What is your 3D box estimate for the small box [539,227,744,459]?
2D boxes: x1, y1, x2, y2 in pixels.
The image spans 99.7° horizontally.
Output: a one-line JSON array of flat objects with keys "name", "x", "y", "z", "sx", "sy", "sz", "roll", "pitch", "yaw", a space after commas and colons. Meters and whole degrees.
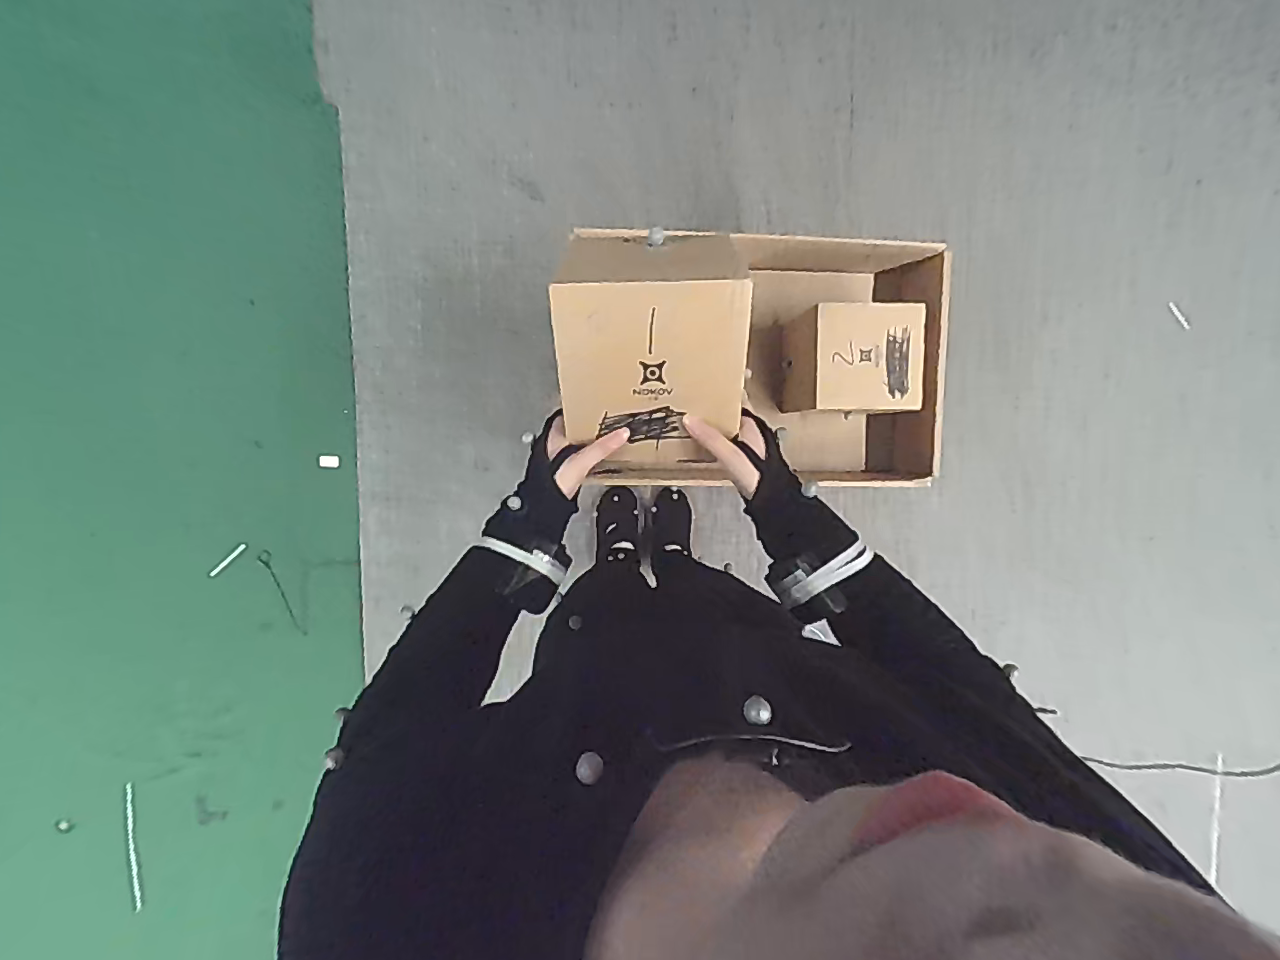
[{"name": "small box", "x": 0.005, "y": -0.138, "z": 0.537, "sx": 0.168, "sy": 0.176, "sz": 0.179, "roll": -1, "pitch": 125, "yaw": 2}]
